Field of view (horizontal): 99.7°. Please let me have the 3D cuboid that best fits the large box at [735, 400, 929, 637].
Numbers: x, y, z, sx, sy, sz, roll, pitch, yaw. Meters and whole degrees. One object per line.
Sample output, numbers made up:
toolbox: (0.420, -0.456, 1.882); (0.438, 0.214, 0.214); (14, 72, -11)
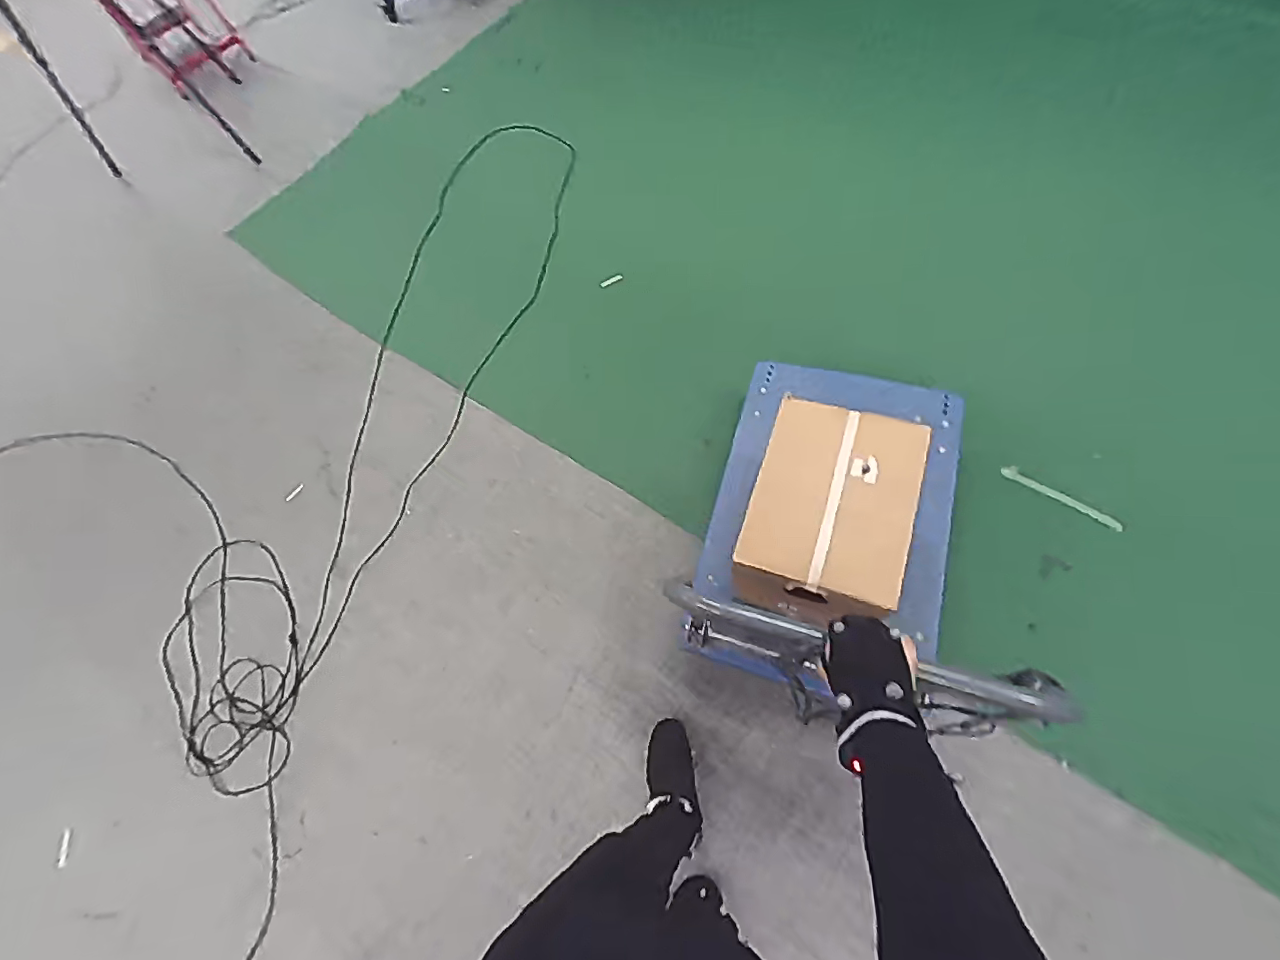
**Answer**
large box: (0.416, 0.094, 1.222); (0.320, 0.320, 0.408); (16, 68, 16)
